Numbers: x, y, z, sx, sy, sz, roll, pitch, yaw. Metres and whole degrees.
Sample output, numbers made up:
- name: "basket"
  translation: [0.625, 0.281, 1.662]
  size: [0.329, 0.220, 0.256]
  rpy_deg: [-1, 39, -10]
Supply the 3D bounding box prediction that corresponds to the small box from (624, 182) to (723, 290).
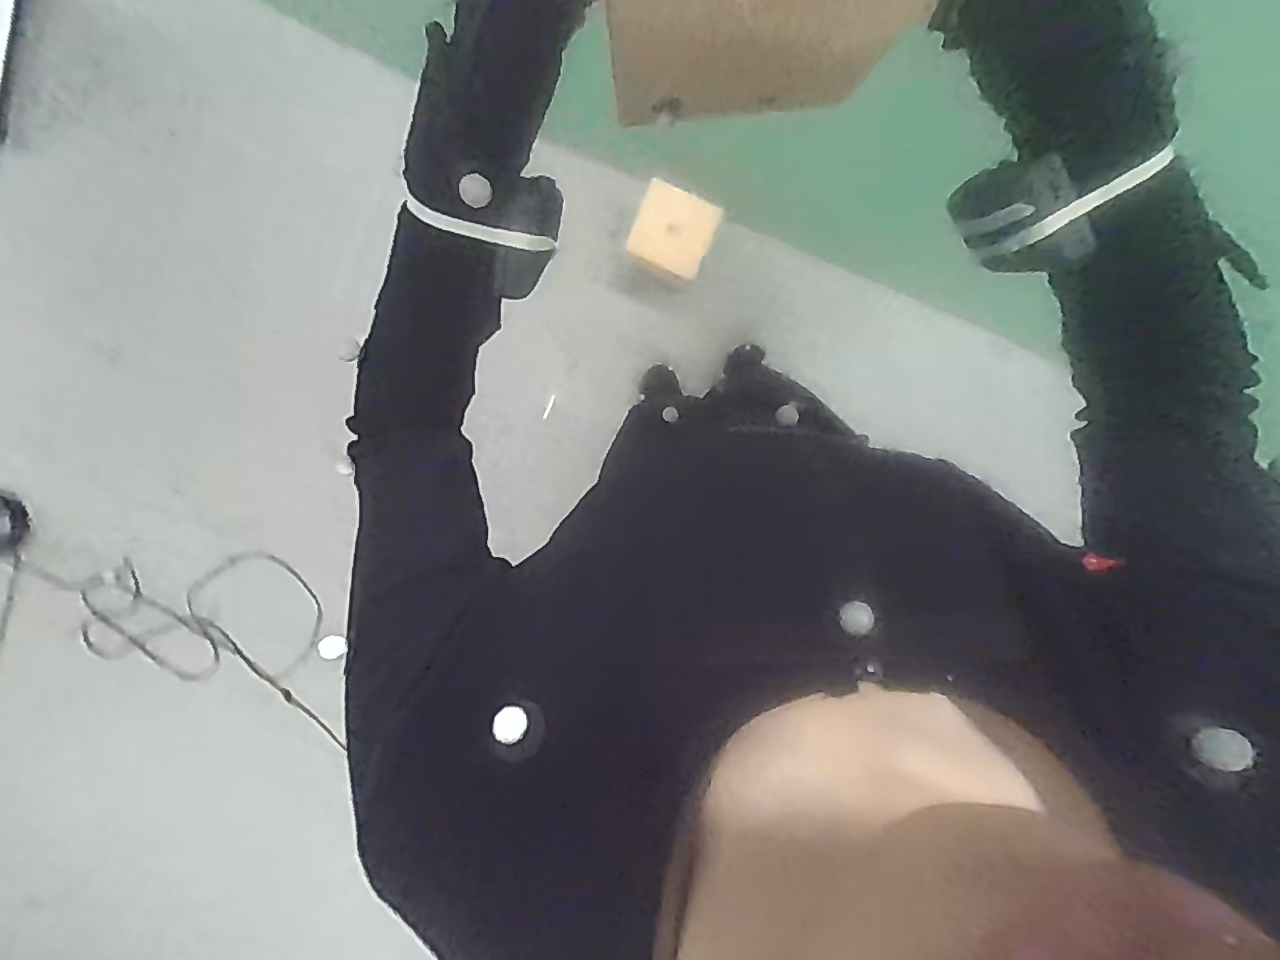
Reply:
- name: "small box"
  translation: [0.077, -0.571, 1.292]
  size: [0.179, 0.176, 0.168]
  rpy_deg: [24, 102, -3]
